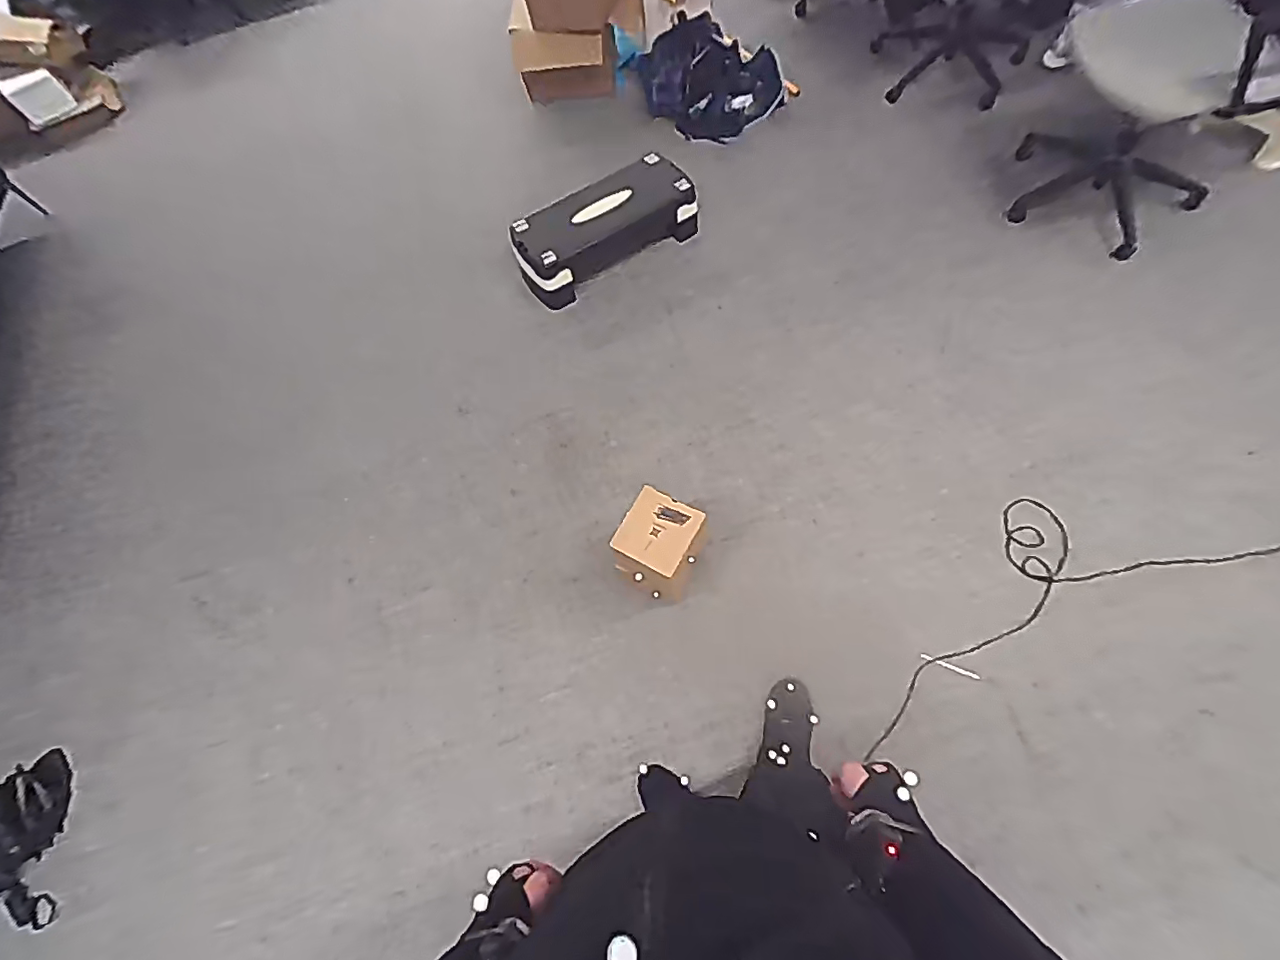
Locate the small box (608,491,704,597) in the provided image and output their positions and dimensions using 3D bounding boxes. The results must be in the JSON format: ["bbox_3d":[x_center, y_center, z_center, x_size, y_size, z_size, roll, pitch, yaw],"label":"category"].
[{"bbox_3d":[0.043,0.160,1.323,0.168,0.176,0.179,26,70,17],"label":"small box"}]

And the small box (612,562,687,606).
[{"bbox_3d":[0.041,0.224,1.475,0.168,0.176,0.179,19,67,14],"label":"small box"}]
